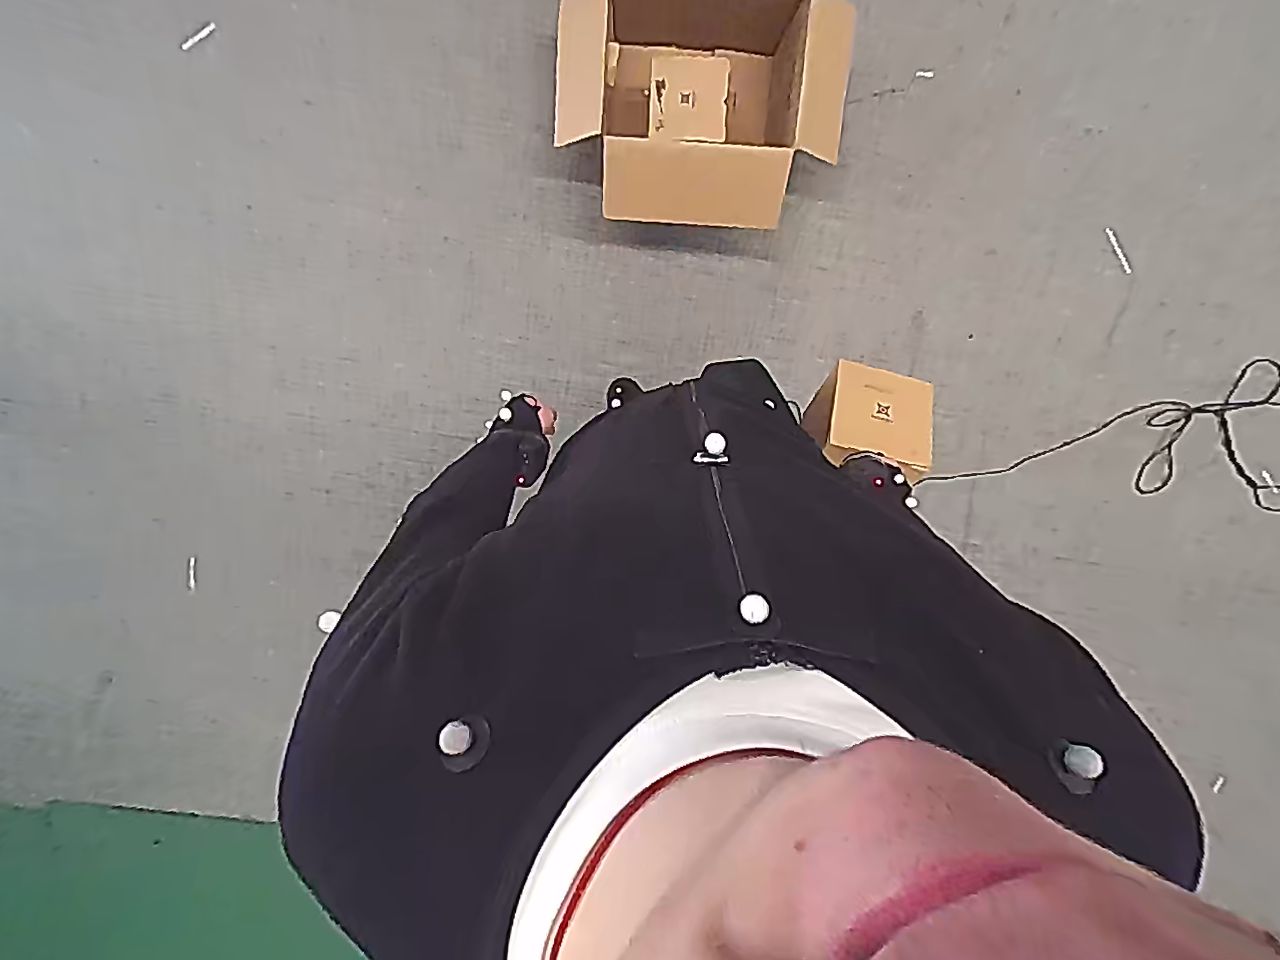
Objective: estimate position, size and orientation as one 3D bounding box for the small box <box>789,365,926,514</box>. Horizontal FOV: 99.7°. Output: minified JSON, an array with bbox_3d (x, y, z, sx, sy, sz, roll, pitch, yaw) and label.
[{"bbox_3d":[0.371,-0.063,0.940,0.168,0.176,0.179,17,60,0],"label":"small box"}]
